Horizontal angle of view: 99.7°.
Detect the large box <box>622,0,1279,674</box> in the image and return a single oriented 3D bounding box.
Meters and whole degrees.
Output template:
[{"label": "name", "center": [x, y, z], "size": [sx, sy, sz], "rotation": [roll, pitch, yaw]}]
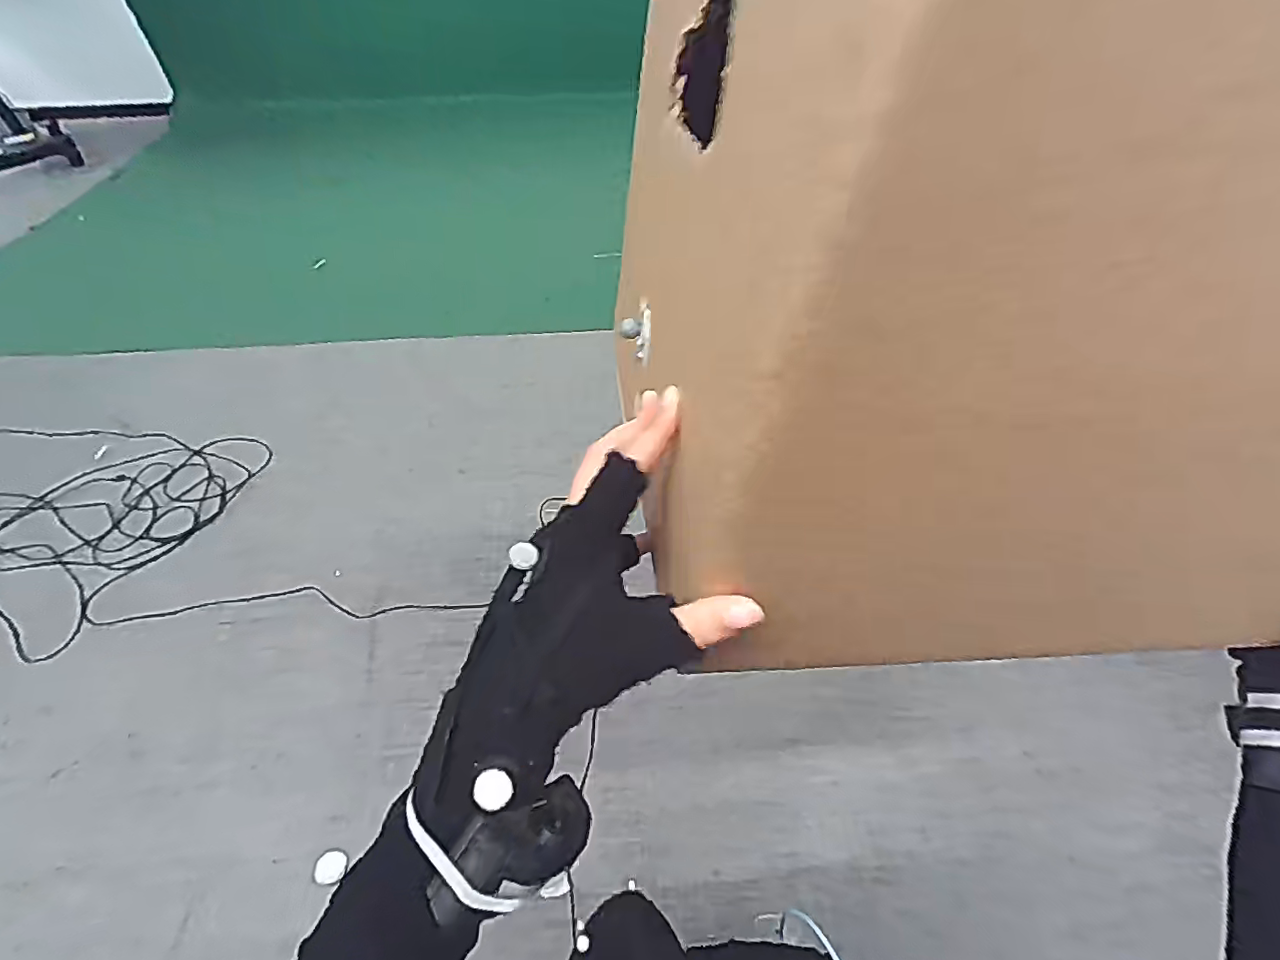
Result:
[{"label": "large box", "center": [0.221, -0.112, 0.312], "size": [0.408, 0.320, 0.320], "rotation": [1, 45, -12]}]
